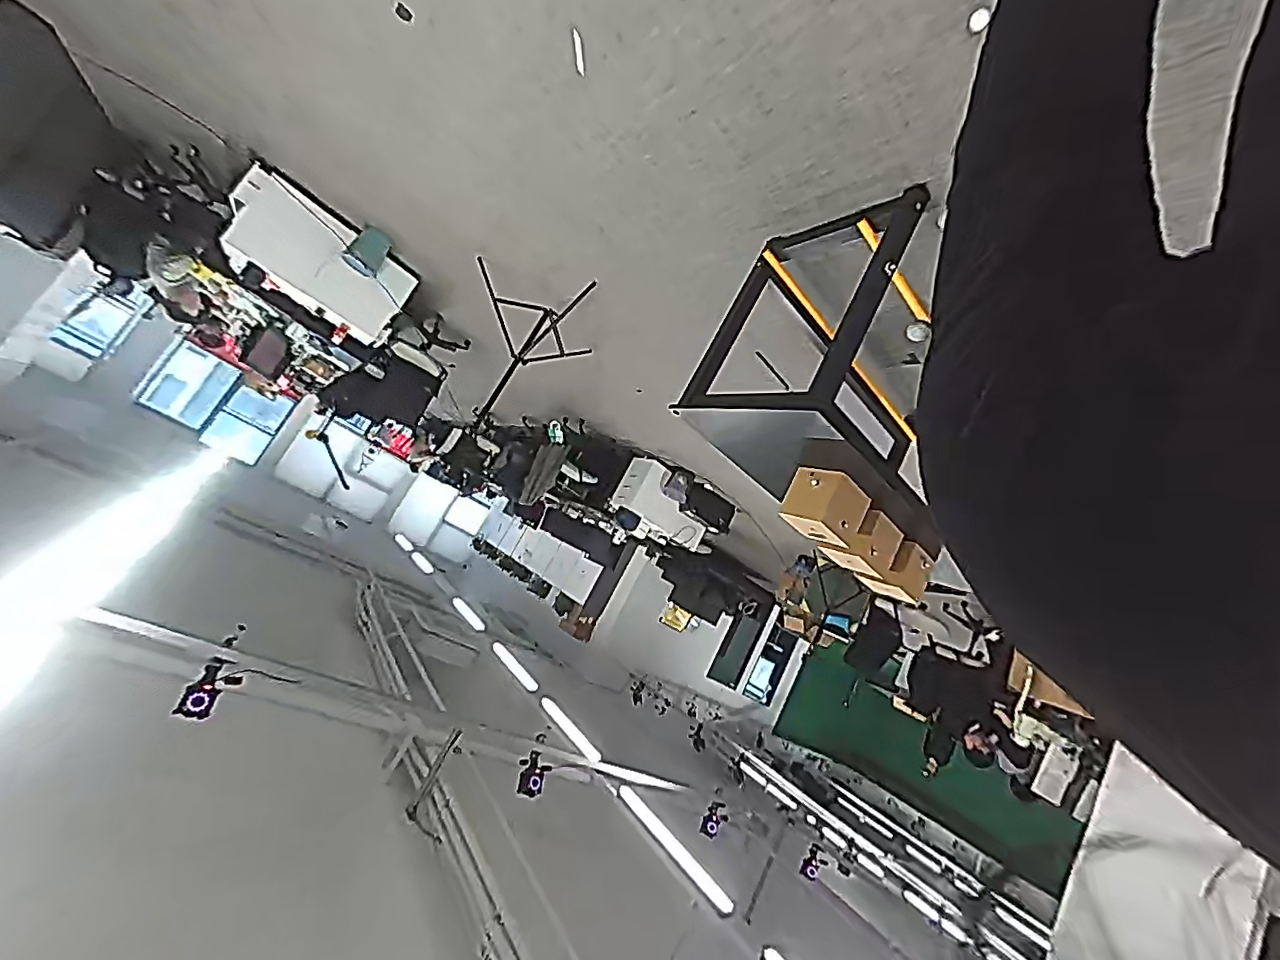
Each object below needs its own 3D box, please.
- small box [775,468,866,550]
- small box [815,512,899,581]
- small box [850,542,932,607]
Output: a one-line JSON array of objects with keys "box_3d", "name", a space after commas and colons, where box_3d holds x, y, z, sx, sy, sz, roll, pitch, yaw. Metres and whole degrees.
[{"box_3d": [0.552, 0.085, 1.641, 0.179, 0.176, 0.168, 36, 167, -33], "name": "small box"}, {"box_3d": [0.715, 0.204, 1.774, 0.179, 0.176, 0.168, 36, 168, -33], "name": "small box"}, {"box_3d": [0.875, 0.312, 1.879, 0.168, 0.176, 0.179, 34, 167, -32], "name": "small box"}]
